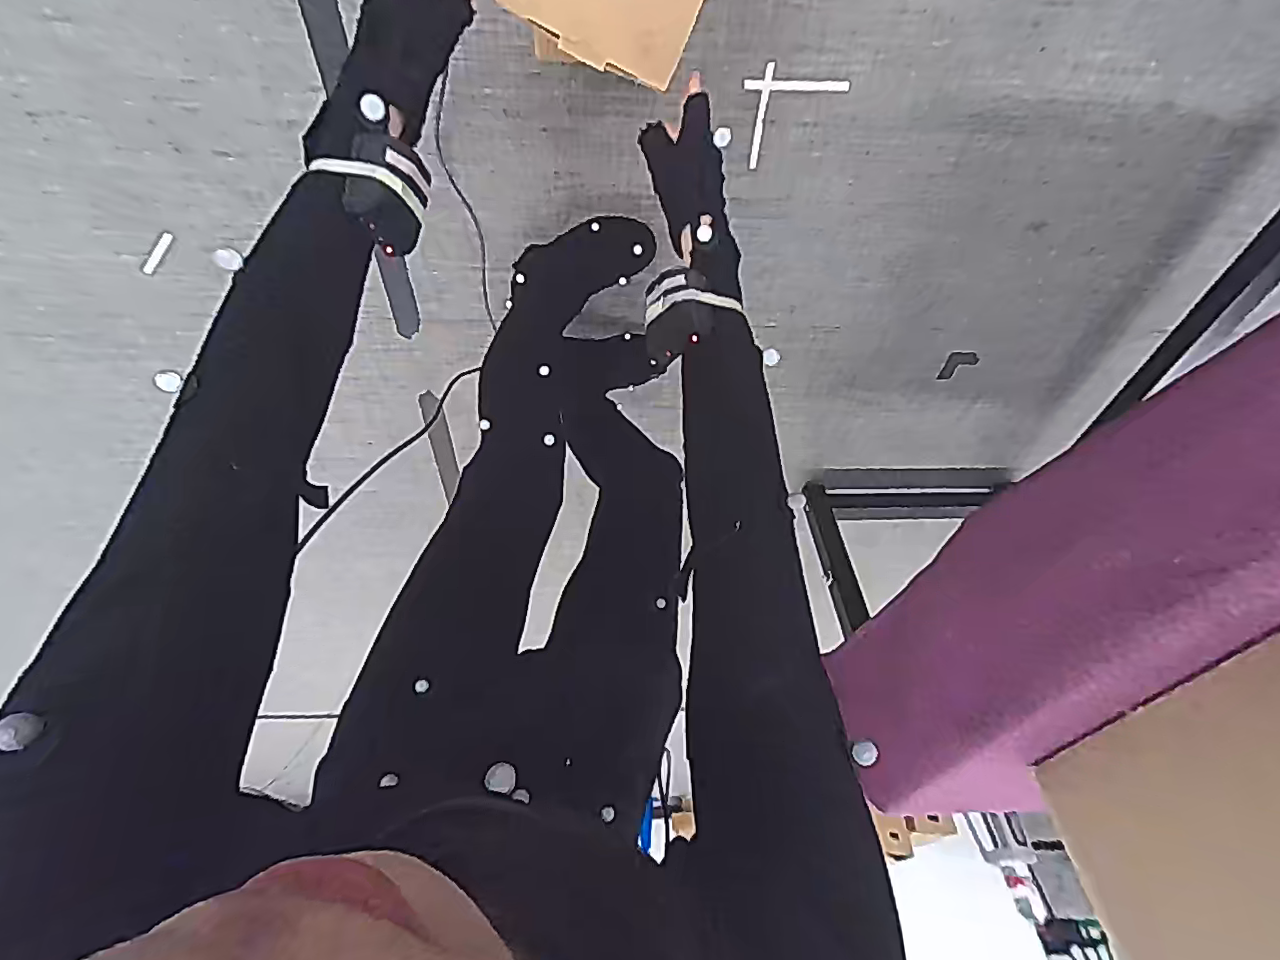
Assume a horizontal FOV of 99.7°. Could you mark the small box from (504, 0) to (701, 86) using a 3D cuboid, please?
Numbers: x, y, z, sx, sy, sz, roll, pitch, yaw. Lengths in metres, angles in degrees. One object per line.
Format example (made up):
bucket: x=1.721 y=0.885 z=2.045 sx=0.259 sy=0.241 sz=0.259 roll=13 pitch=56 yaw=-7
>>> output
small box: x=-0.017 y=-0.495 z=0.471 sx=0.168 sy=0.176 sz=0.179 roll=15 pitch=133 yaw=-19
